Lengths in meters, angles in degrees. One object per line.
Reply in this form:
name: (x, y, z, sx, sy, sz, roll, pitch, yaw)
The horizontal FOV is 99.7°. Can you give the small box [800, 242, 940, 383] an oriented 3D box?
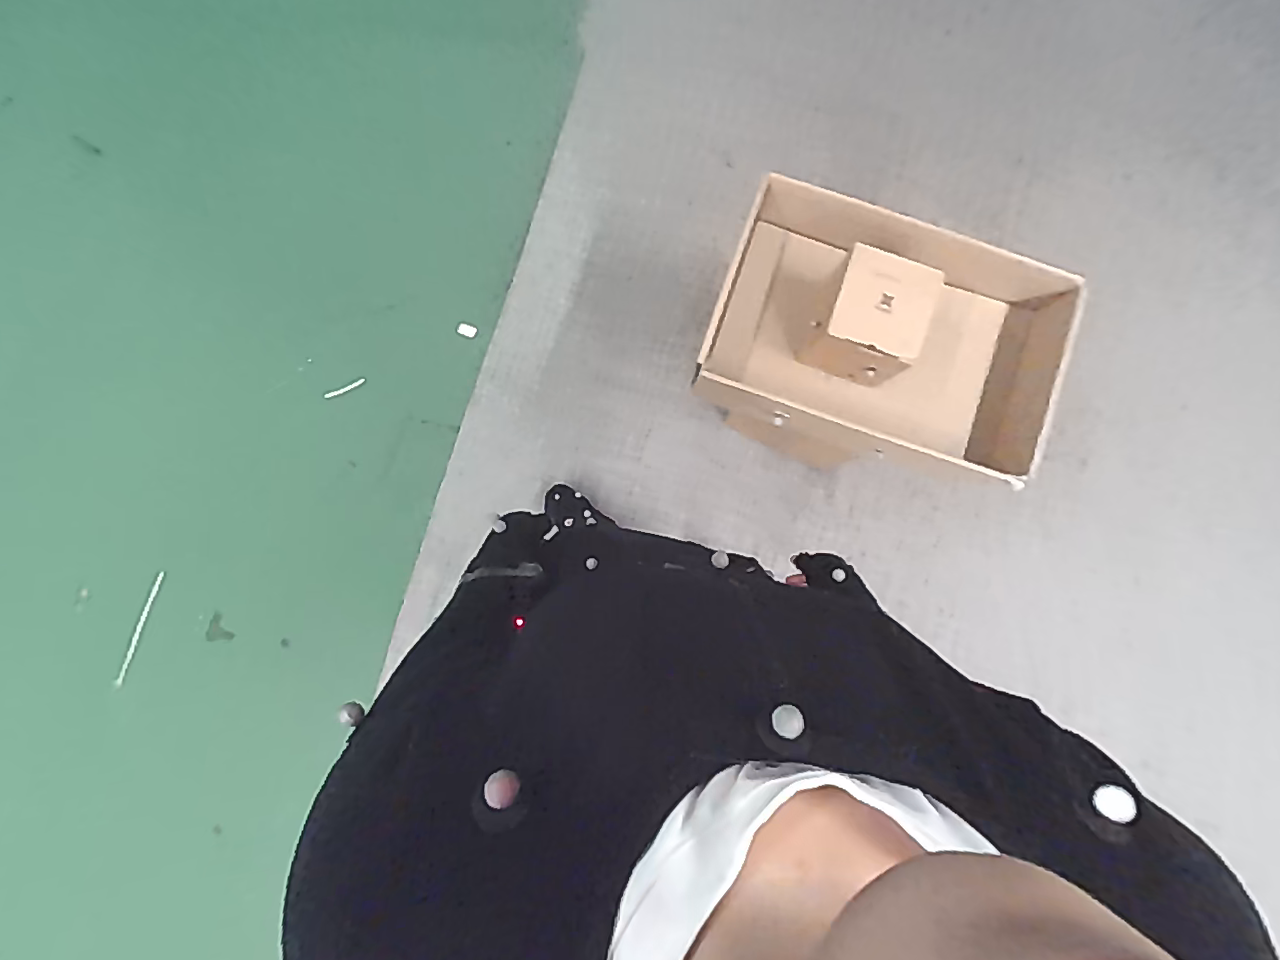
small box: (0.419, -0.302, 1.017, 0.168, 0.176, 0.179, 19, 84, -1)
